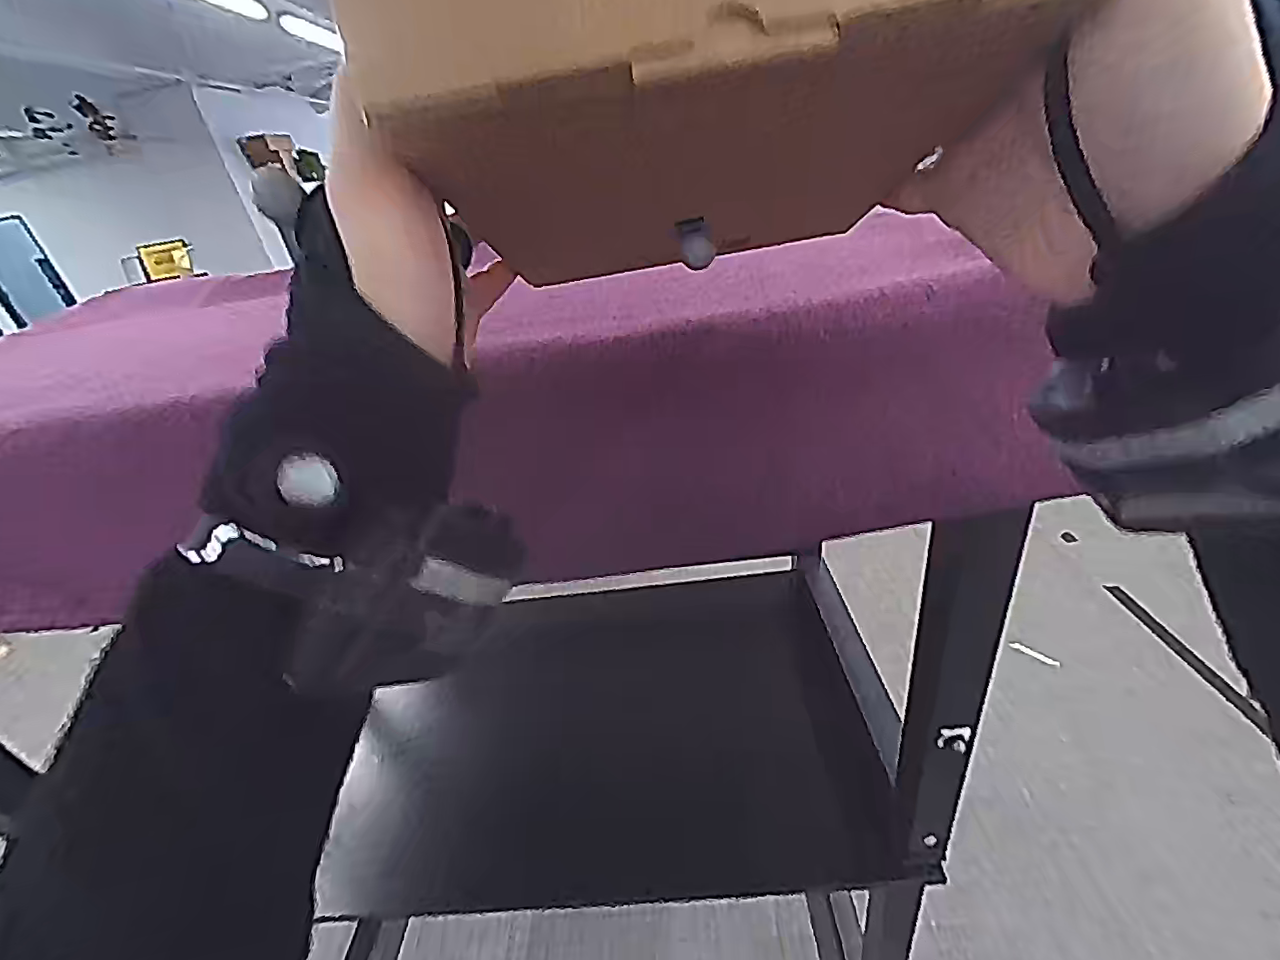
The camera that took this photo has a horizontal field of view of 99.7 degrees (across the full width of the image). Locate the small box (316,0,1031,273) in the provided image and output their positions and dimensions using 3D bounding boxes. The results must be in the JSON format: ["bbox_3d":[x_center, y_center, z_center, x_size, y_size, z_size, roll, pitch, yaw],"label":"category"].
[{"bbox_3d":[0.004,-0.193,0.183,0.168,0.179,0.176,-9,5,3],"label":"small box"}]
